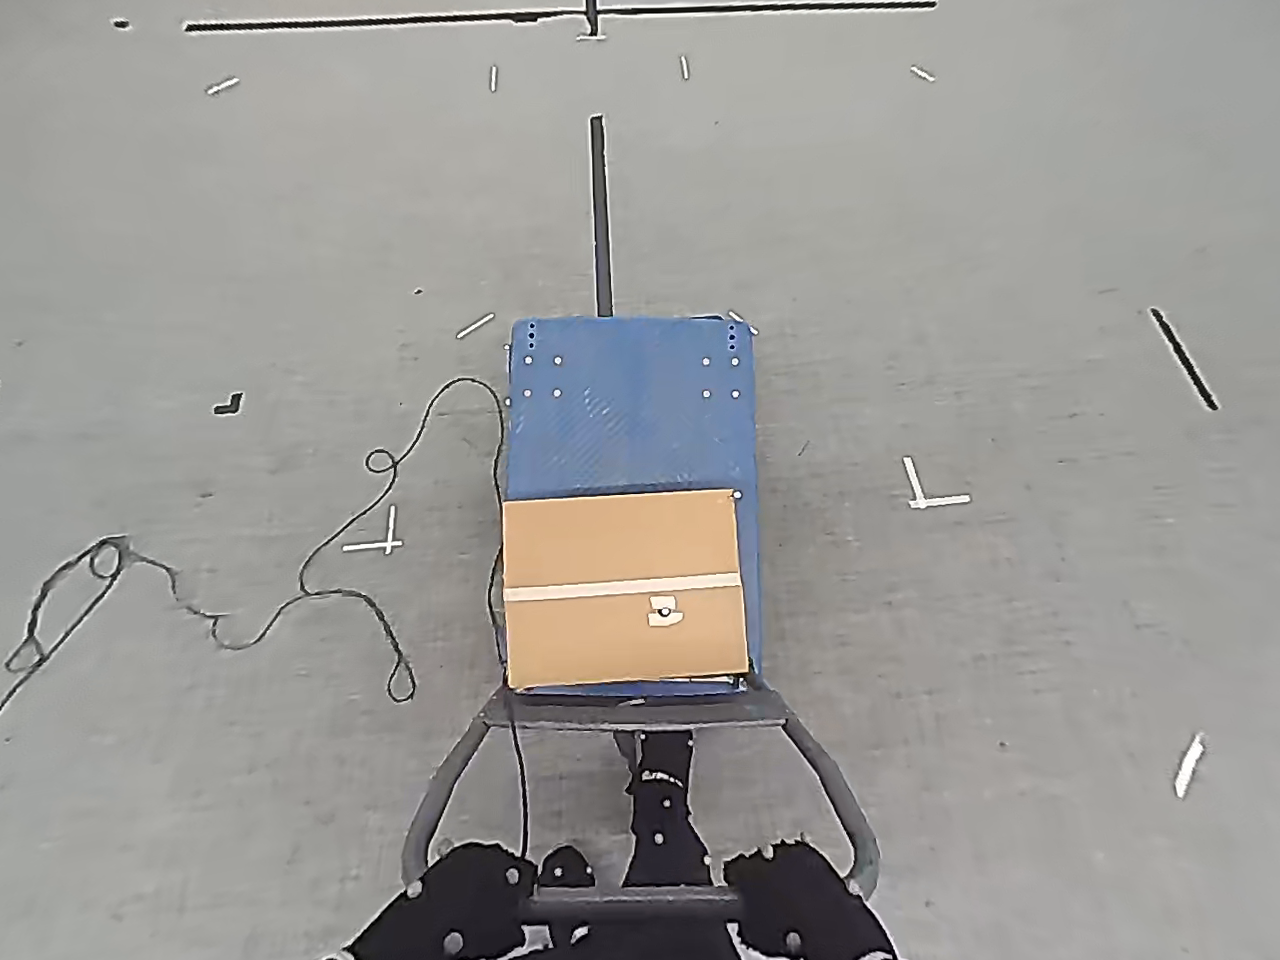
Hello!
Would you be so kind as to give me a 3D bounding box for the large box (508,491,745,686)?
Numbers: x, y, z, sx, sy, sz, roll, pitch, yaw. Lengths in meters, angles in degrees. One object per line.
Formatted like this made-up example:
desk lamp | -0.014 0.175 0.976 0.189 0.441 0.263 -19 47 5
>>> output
large box | -0.034 0.204 1.092 0.408 0.320 0.320 -3 83 -3
